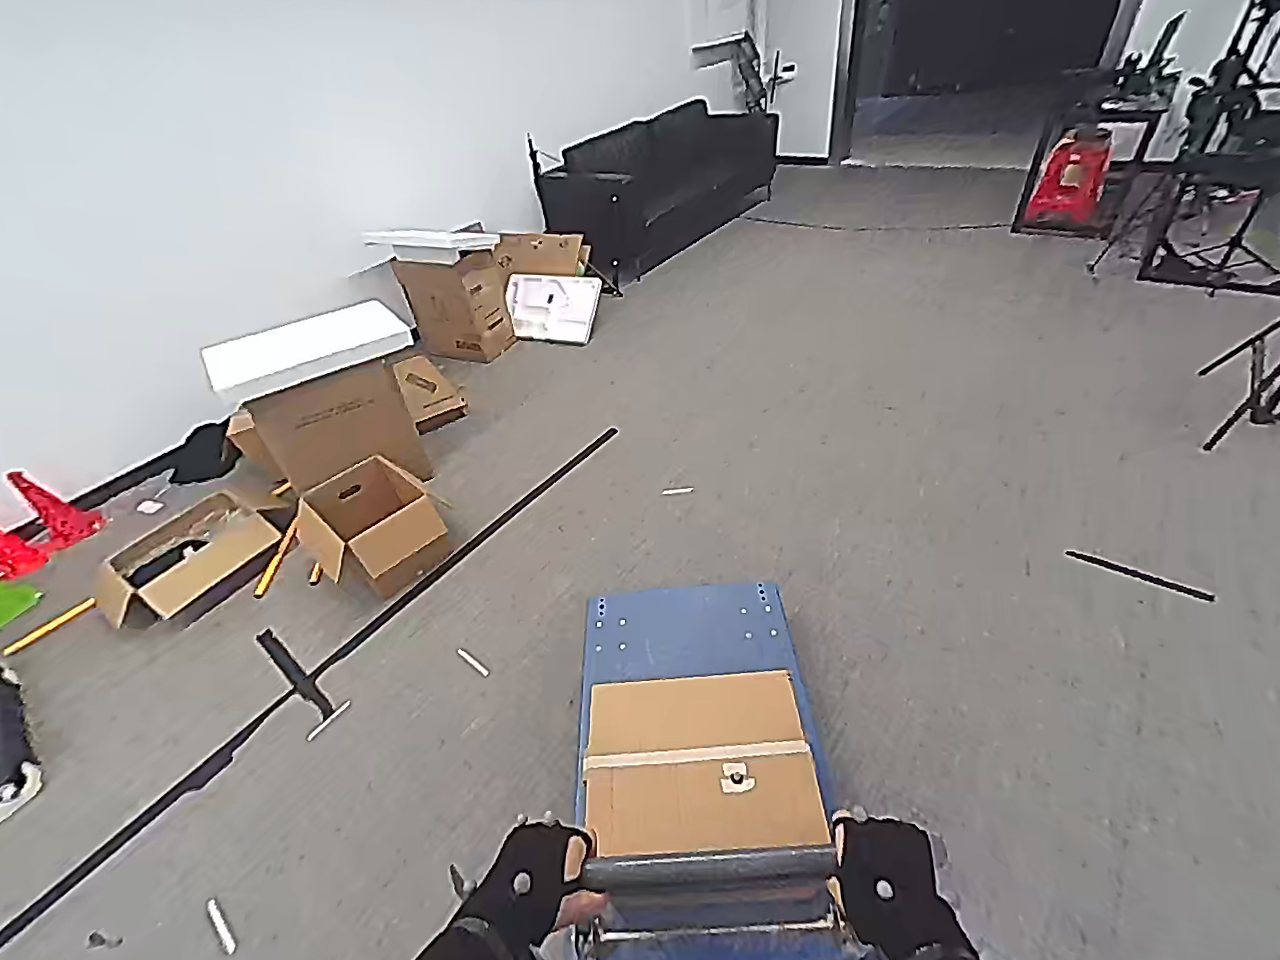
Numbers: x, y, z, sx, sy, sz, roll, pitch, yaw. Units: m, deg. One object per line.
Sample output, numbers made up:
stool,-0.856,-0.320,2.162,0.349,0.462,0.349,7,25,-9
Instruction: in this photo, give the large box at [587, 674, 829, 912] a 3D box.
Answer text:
large box,0.115,0.624,1.081,0.408,0.320,0.320,-5,41,2
